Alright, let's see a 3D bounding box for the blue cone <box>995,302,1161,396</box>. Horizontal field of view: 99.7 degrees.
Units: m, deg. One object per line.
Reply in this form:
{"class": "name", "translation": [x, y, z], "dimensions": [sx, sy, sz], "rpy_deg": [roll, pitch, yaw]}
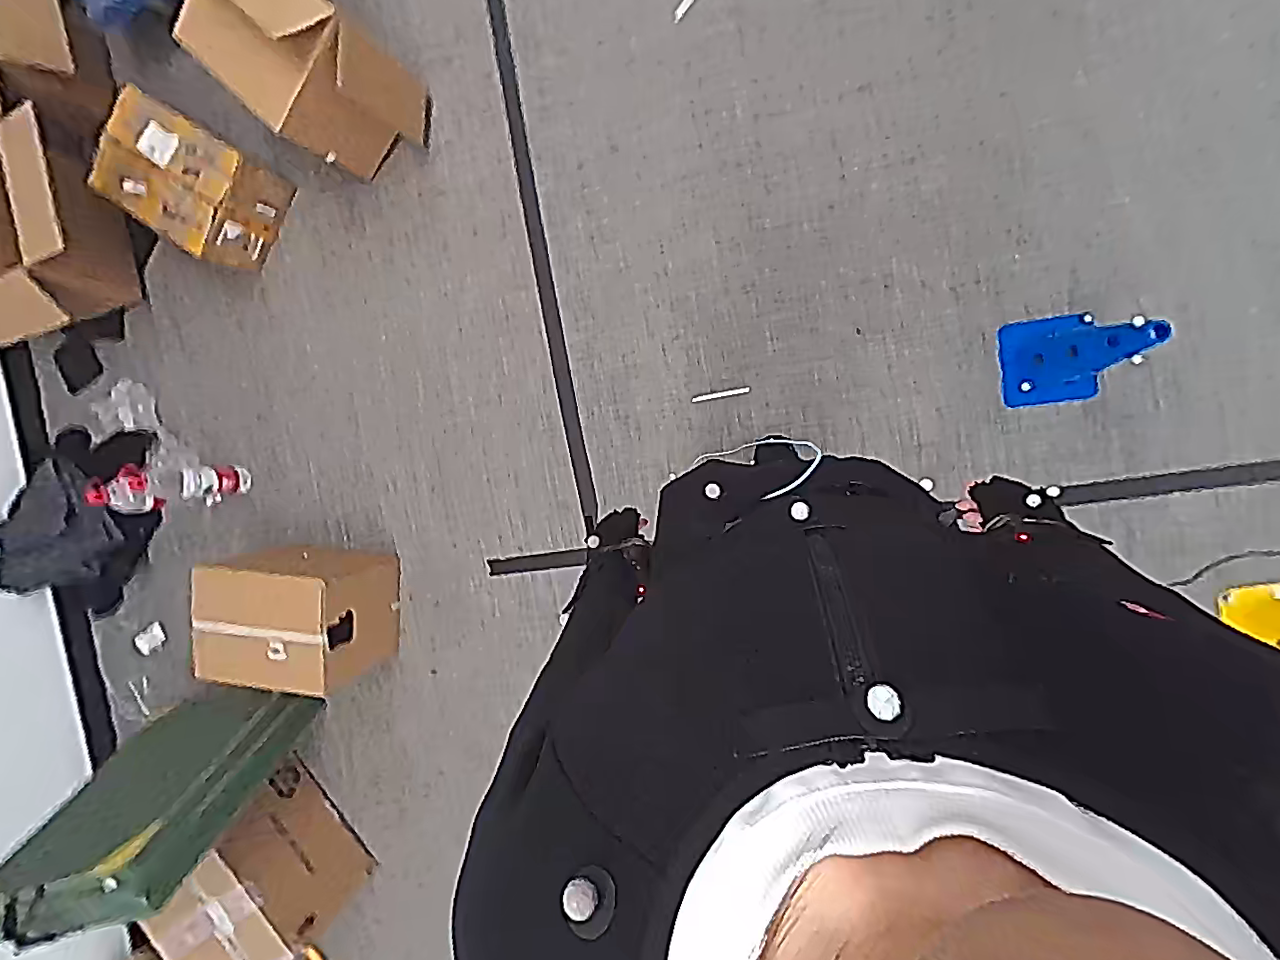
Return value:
{"class": "blue cone", "translation": [0.914, -0.288, 1.109], "dimensions": [0.193, 0.380, 0.192], "rpy_deg": [-5, 92, 12]}
